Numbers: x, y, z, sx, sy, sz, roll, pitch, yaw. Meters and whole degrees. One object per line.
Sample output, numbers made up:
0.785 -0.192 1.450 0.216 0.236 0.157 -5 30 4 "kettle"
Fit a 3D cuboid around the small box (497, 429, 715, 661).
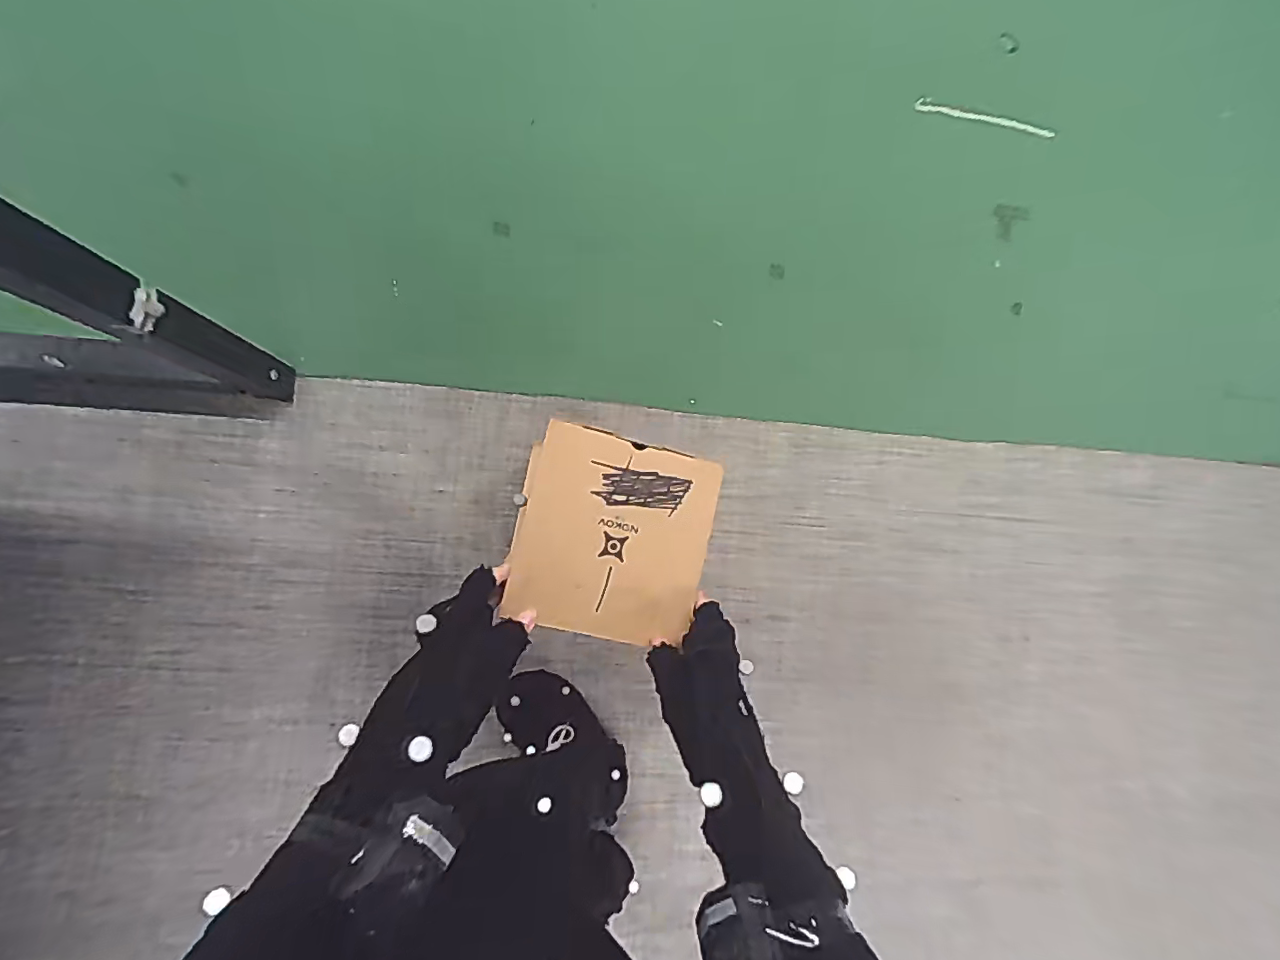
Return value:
-0.041 0.065 0.556 0.168 0.176 0.179 14 82 -9 "small box"
